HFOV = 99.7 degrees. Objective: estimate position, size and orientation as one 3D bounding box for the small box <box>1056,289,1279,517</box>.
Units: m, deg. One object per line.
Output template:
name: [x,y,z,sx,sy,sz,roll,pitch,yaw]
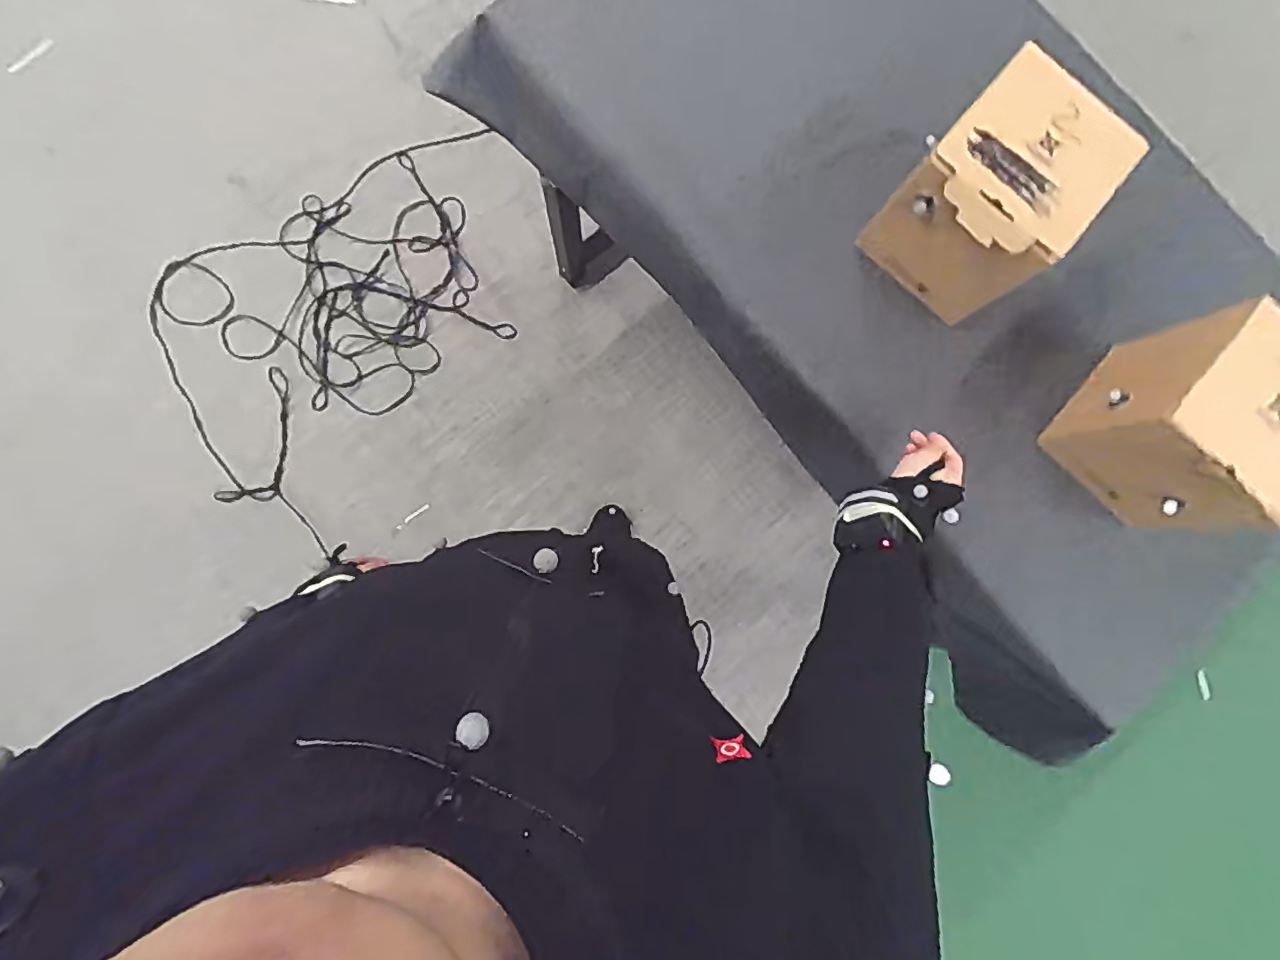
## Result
small box: [0.629,-0.069,0.612,0.168,0.176,0.179,42,83,-1]
